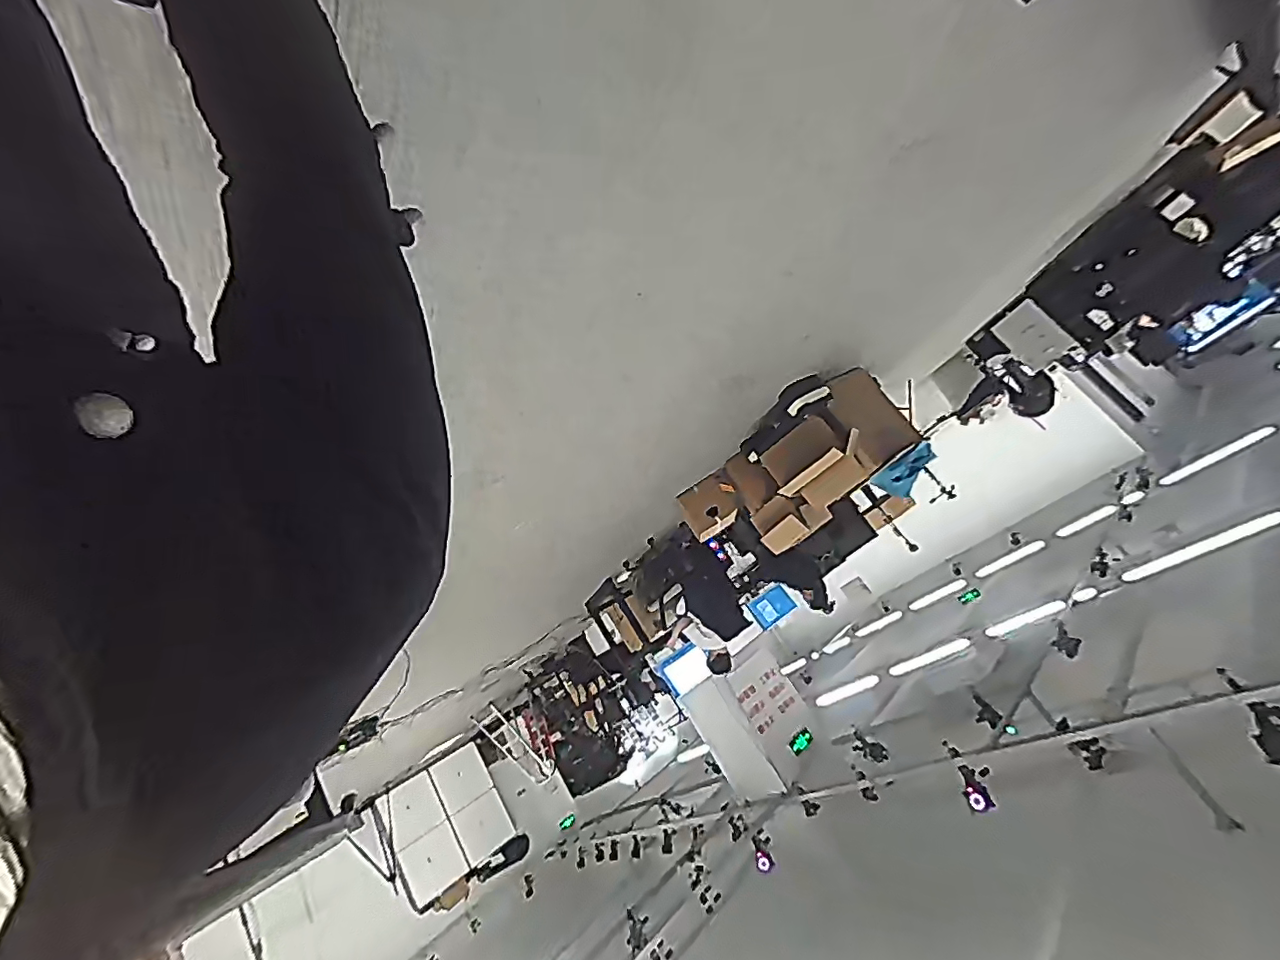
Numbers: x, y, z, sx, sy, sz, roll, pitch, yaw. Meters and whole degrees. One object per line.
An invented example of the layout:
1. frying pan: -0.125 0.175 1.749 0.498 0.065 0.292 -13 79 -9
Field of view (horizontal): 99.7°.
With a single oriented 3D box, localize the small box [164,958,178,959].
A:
1. small box: -1.385 1.477 1.502 0.179 0.176 0.168 -19 157 -38
